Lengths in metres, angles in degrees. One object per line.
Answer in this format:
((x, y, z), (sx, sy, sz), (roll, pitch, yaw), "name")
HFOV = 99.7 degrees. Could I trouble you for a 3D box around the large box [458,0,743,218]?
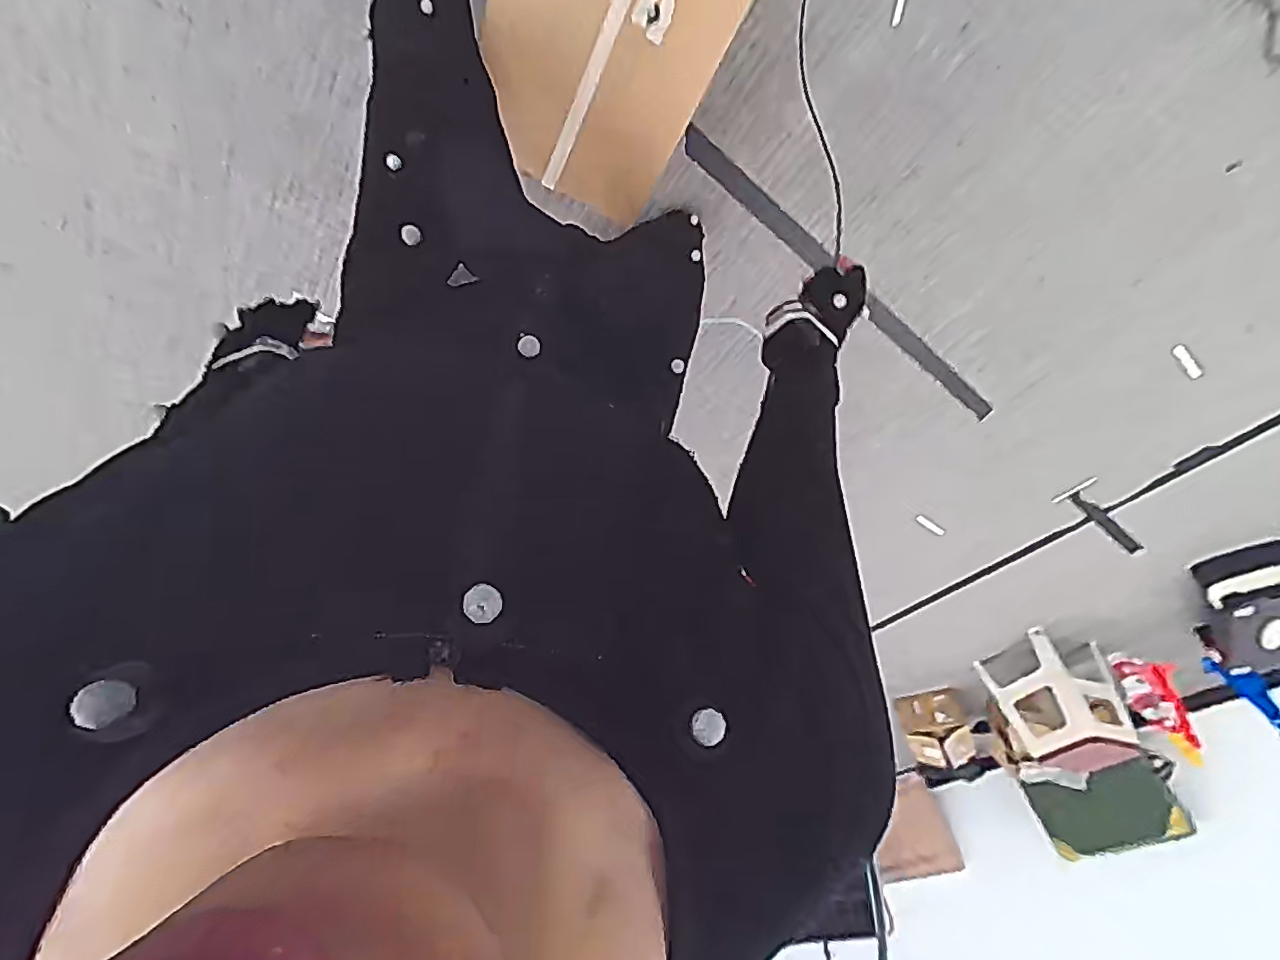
((-0.053, -0.726, 0.869), (0.320, 0.320, 0.408), (22, 130, -20), "large box")
